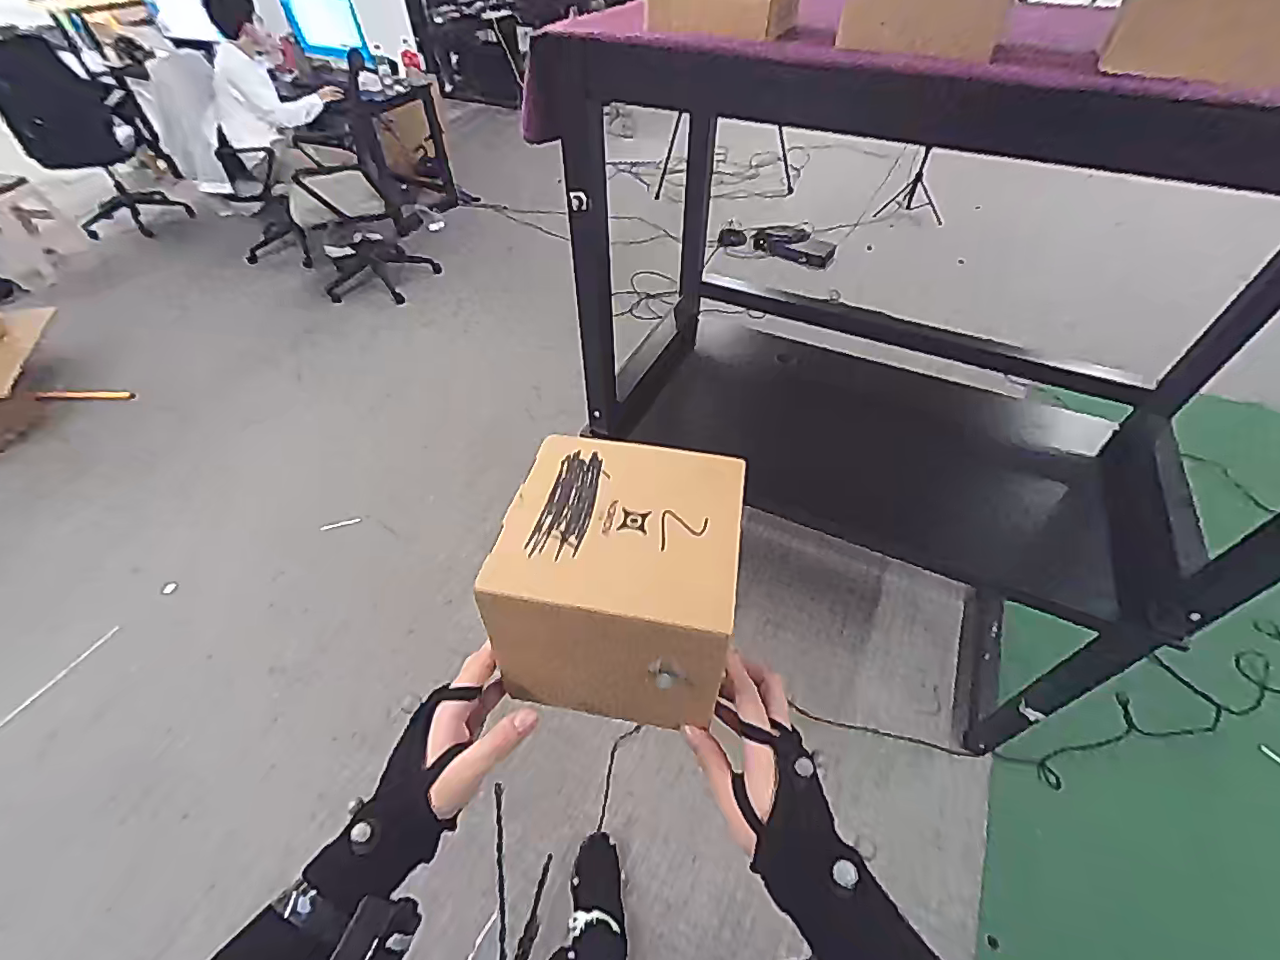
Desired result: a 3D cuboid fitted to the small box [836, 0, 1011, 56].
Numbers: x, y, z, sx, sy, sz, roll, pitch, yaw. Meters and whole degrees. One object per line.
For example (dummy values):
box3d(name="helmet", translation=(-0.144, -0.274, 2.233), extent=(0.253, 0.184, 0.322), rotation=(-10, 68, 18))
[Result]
box3d(name="small box", translation=(0.344, -0.607, 0.620), extent=(0.179, 0.176, 0.168), rotation=(22, 52, 19))

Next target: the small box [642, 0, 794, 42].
box3d(name="small box", translation=(0.108, -0.687, 0.700), extent=(0.179, 0.176, 0.168), rotation=(18, 51, 16))

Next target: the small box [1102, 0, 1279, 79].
box3d(name="small box", translation=(0.598, -0.513, 0.531), extent=(0.179, 0.176, 0.168), rotation=(21, 52, 21))
